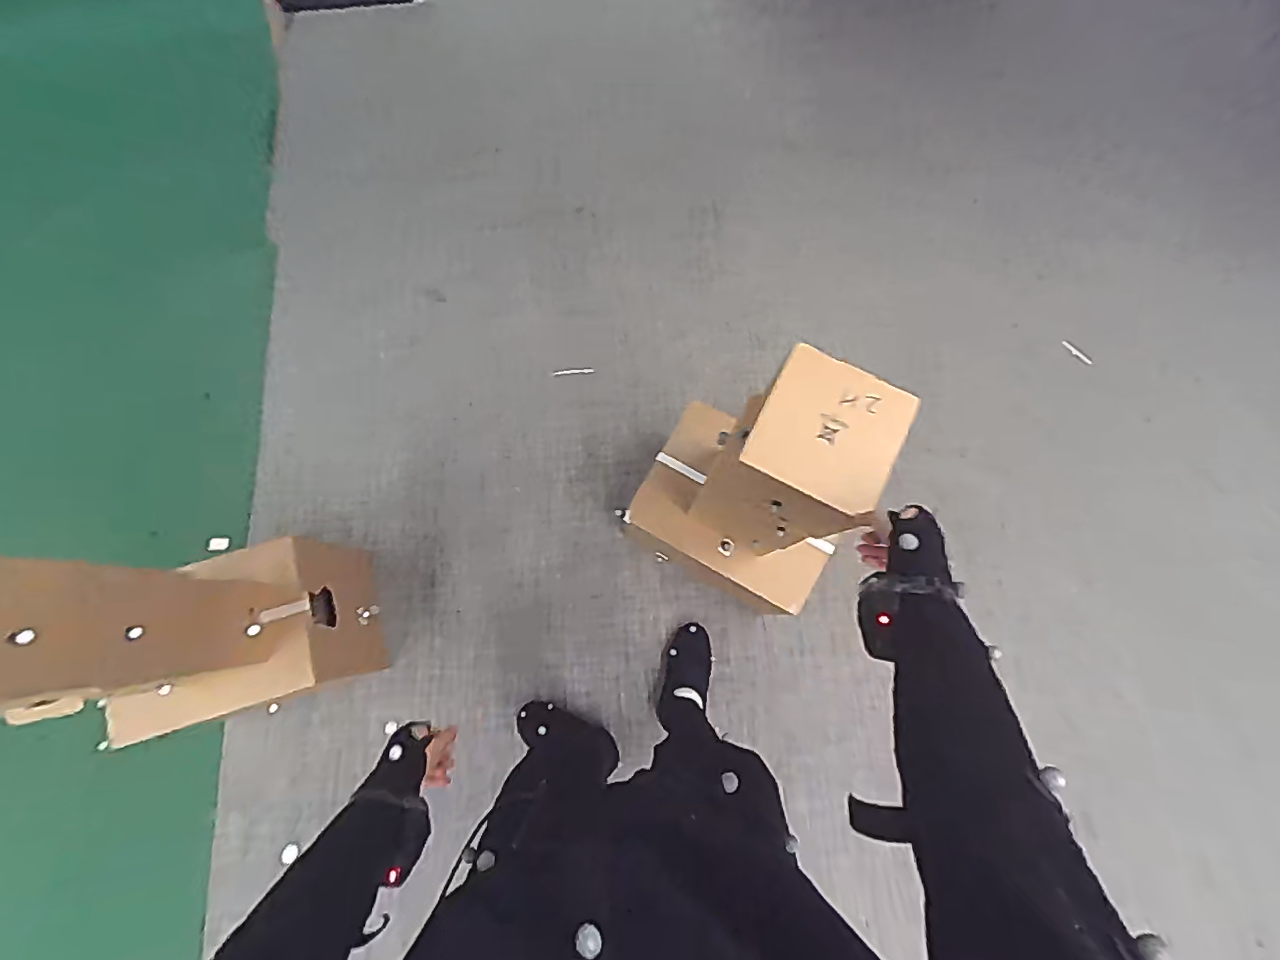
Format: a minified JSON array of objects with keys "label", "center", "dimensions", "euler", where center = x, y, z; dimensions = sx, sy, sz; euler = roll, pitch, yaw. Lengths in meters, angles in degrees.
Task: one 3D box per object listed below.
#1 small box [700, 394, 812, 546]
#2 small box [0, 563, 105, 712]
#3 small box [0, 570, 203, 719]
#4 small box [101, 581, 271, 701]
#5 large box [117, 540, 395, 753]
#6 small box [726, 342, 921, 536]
[{"label":"small box","center":[0.213,-0.006,0.877],"dimensions":[0.179,0.176,0.168],"euler":[28,77,6]},{"label":"small box","center":[-0.825,0.203,0.673],"dimensions":[0.168,0.176,0.179],"euler":[-14,78,-3]},{"label":"small box","center":[-0.817,0.244,0.833],"dimensions":[0.168,0.176,0.179],"euler":[-12,77,-2]},{"label":"small box","center":[-0.823,0.290,0.990],"dimensions":[0.179,0.176,0.168],"euler":[-14,77,-3]},{"label":"large box","center":[-0.843,0.359,1.226],"dimensions":[0.408,0.320,0.320],"euler":[-18,75,-2]},{"label":"small box","center":[0.226,-0.041,0.716],"dimensions":[0.168,0.176,0.179],"euler":[28,78,5]}]
